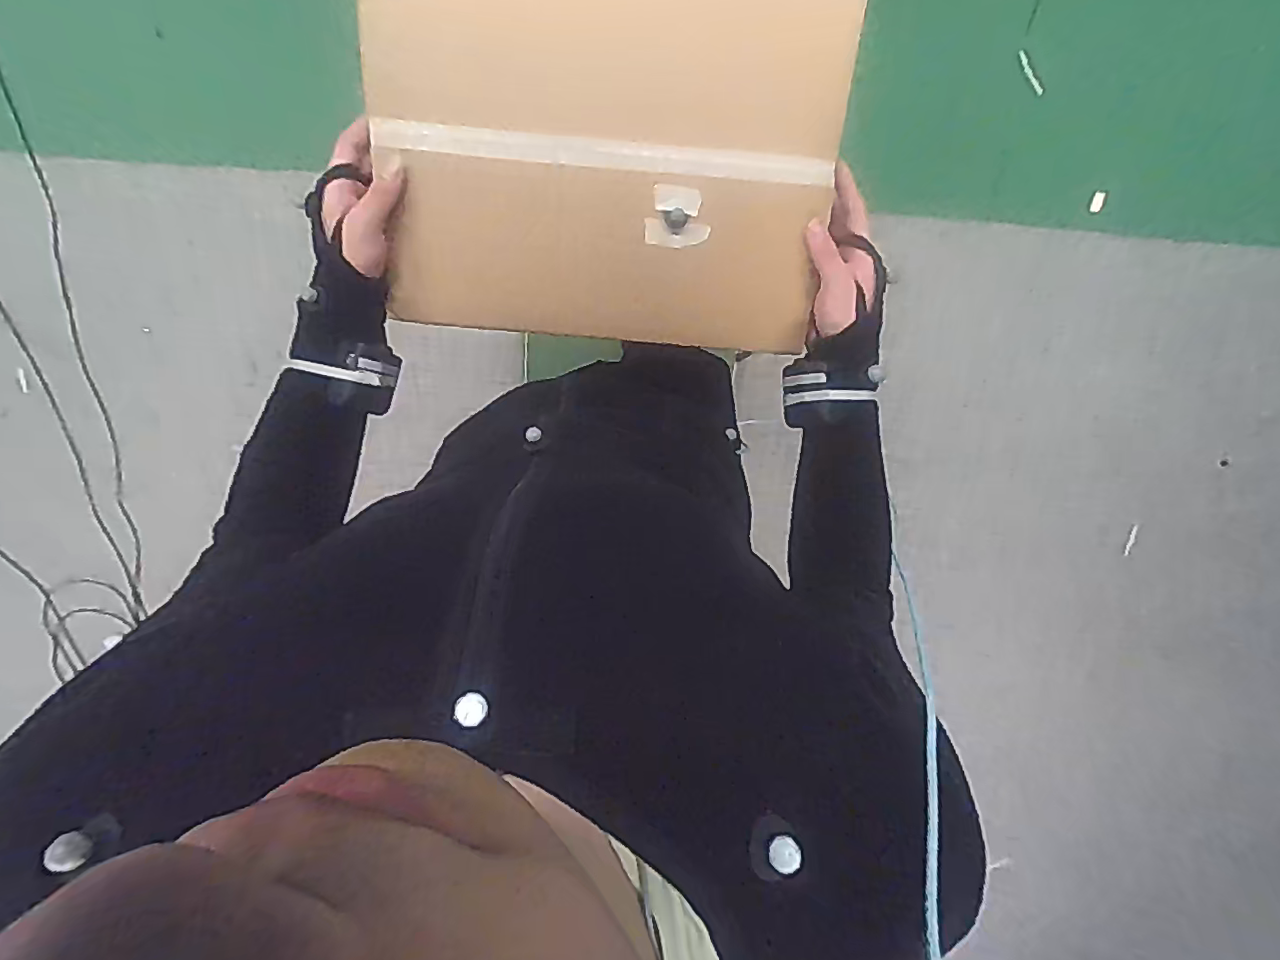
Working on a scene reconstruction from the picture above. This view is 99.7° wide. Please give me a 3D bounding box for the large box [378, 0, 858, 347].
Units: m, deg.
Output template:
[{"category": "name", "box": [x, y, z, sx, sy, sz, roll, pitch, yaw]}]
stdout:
[{"category": "large box", "box": [-0.030, -0.339, 0.625, 0.408, 0.320, 0.320, 4, 111, -2]}]
